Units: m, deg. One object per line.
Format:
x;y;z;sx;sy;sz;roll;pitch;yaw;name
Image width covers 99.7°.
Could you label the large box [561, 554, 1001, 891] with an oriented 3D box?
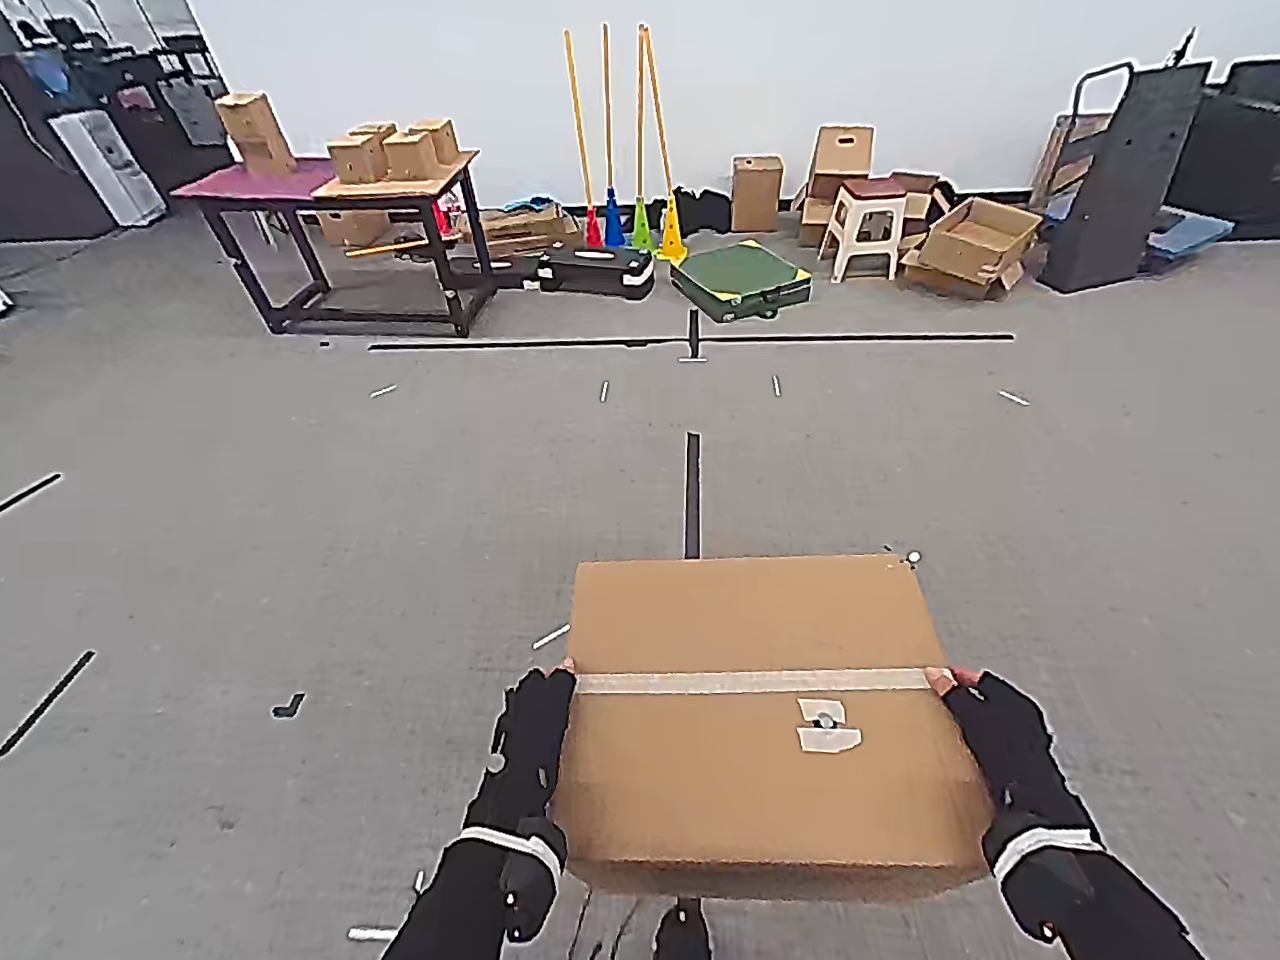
0.135;0.316;0.695;0.408;0.320;0.320;-3;48;5;large box
